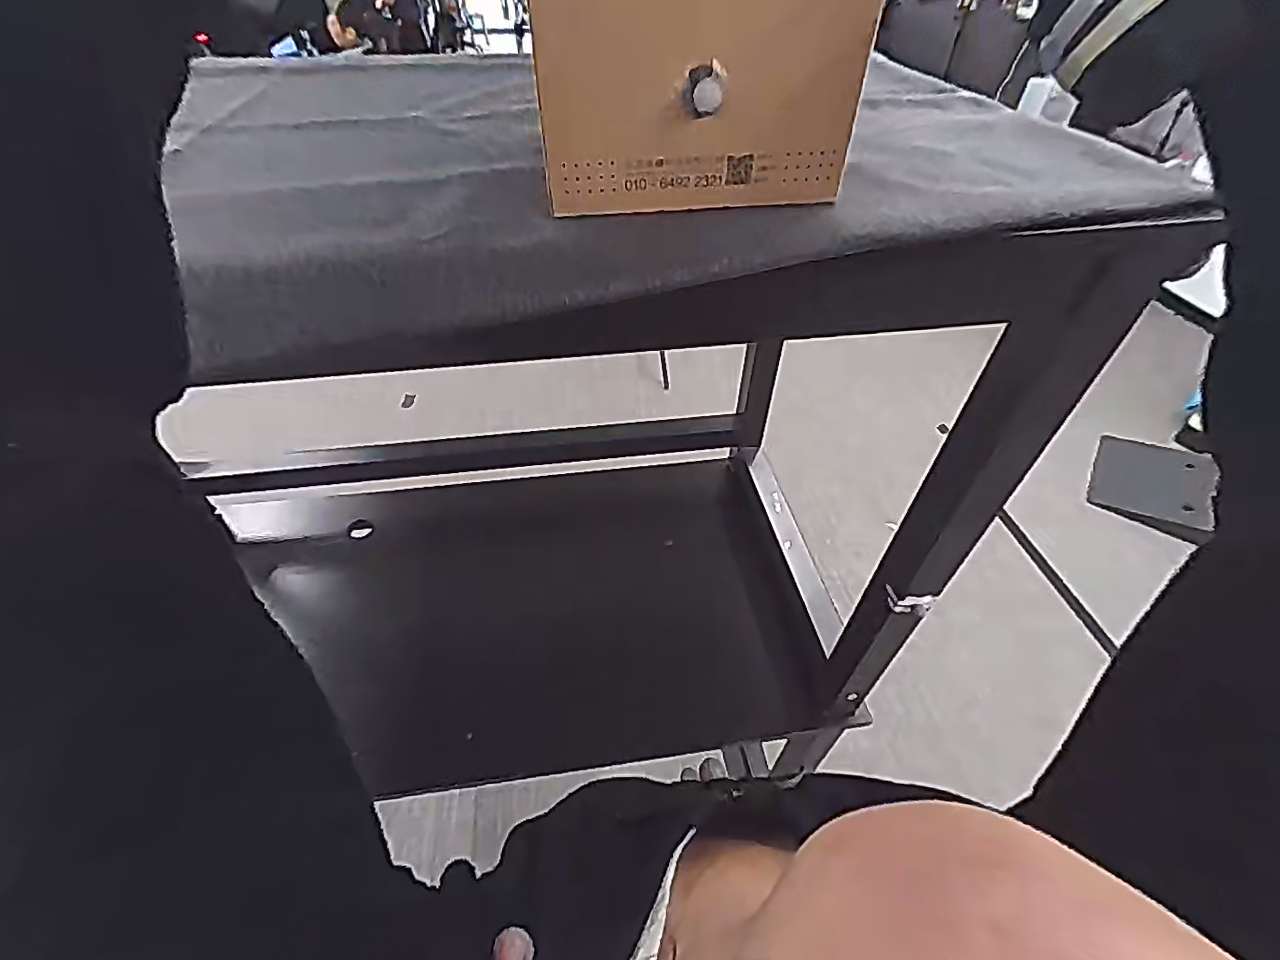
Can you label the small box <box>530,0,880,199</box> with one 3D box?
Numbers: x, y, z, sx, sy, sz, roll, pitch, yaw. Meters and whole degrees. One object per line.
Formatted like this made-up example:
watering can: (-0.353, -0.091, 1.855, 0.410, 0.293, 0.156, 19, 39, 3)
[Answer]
small box: (0.023, -0.275, 0.306, 0.168, 0.176, 0.179, -6, 45, -4)
